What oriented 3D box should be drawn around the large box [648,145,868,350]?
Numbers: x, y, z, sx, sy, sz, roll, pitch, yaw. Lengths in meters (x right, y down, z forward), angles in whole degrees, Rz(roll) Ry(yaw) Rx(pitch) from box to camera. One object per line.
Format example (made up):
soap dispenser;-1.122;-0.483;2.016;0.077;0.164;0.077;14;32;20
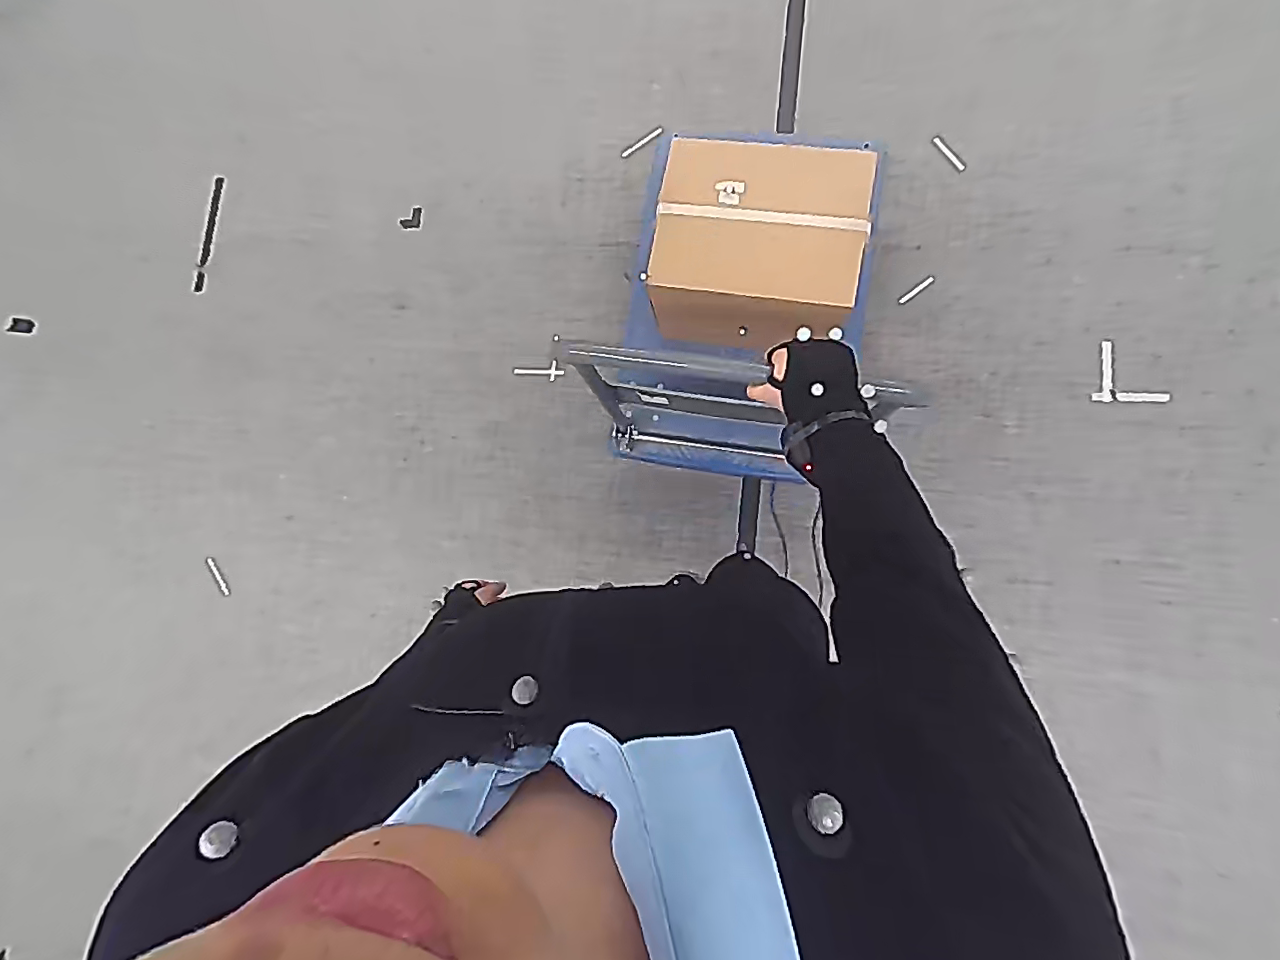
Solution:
large box;0.256;-0.503;1.219;0.408;0.320;0.320;9;85;10
